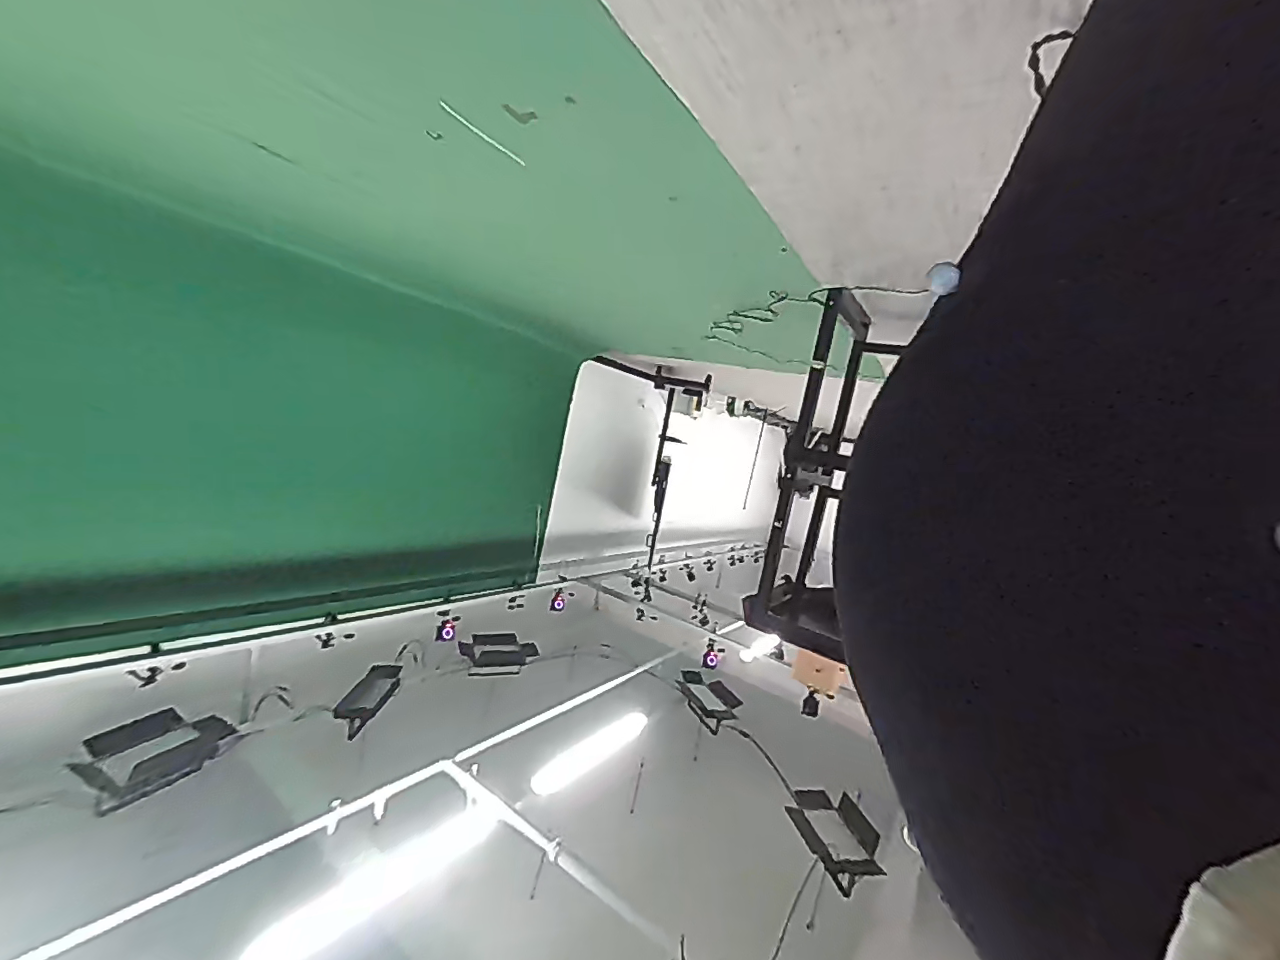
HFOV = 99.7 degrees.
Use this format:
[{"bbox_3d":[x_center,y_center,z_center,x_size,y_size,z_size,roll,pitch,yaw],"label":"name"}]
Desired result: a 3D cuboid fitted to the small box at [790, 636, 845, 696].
[{"bbox_3d":[0.756,0.780,2.290,0.179,0.176,0.168,14,-176,33],"label":"small box"}]
